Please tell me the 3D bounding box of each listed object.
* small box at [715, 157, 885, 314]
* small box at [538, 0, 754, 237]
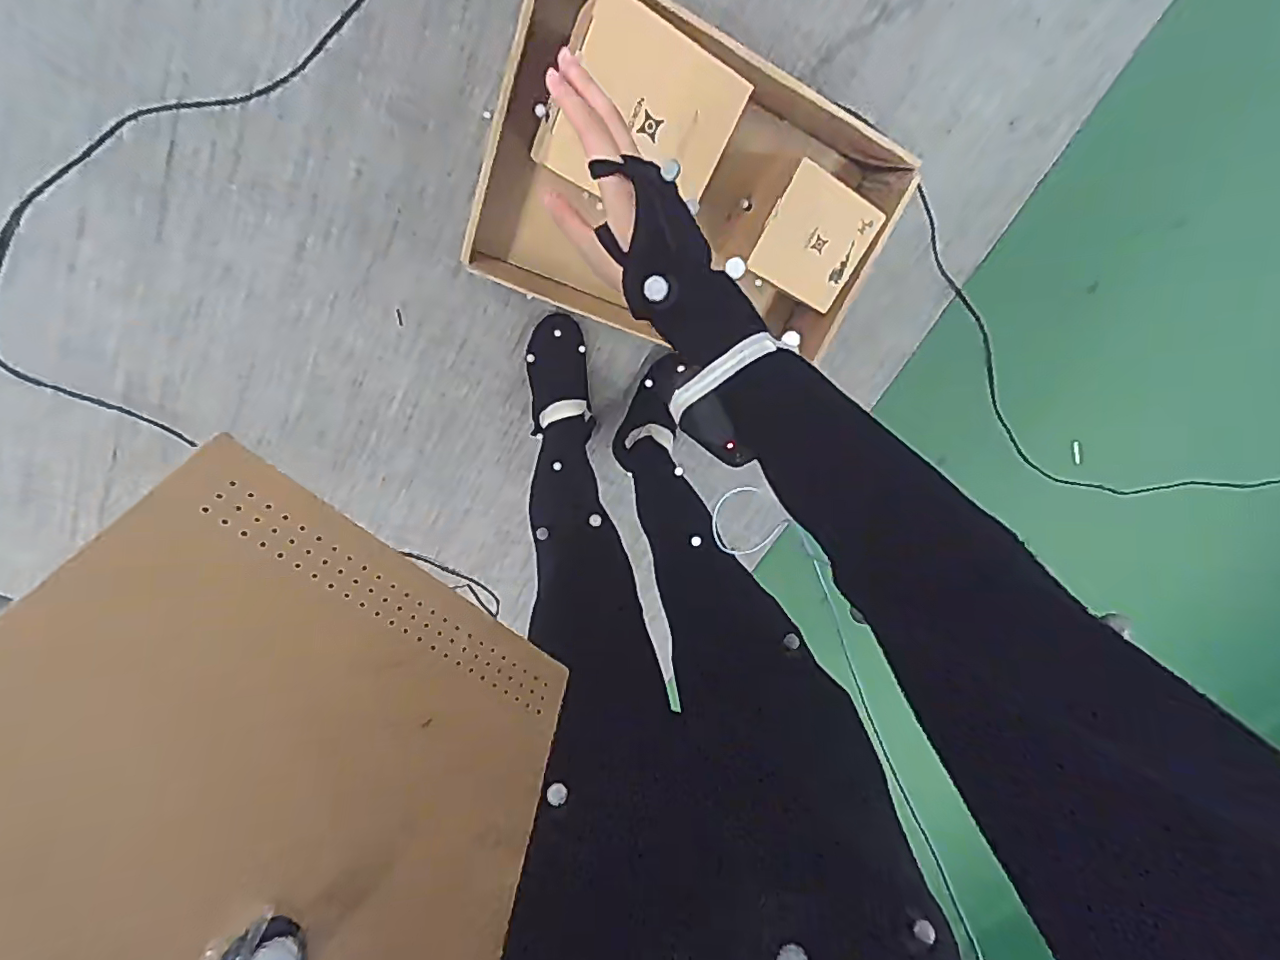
[{"bbox_3d":[0.250,-0.401,0.892,0.179,0.176,0.168,20,114,-24],"label":"small box"},{"bbox_3d":[-0.008,-0.410,0.624,0.179,0.176,0.168,19,116,-25],"label":"small box"}]
